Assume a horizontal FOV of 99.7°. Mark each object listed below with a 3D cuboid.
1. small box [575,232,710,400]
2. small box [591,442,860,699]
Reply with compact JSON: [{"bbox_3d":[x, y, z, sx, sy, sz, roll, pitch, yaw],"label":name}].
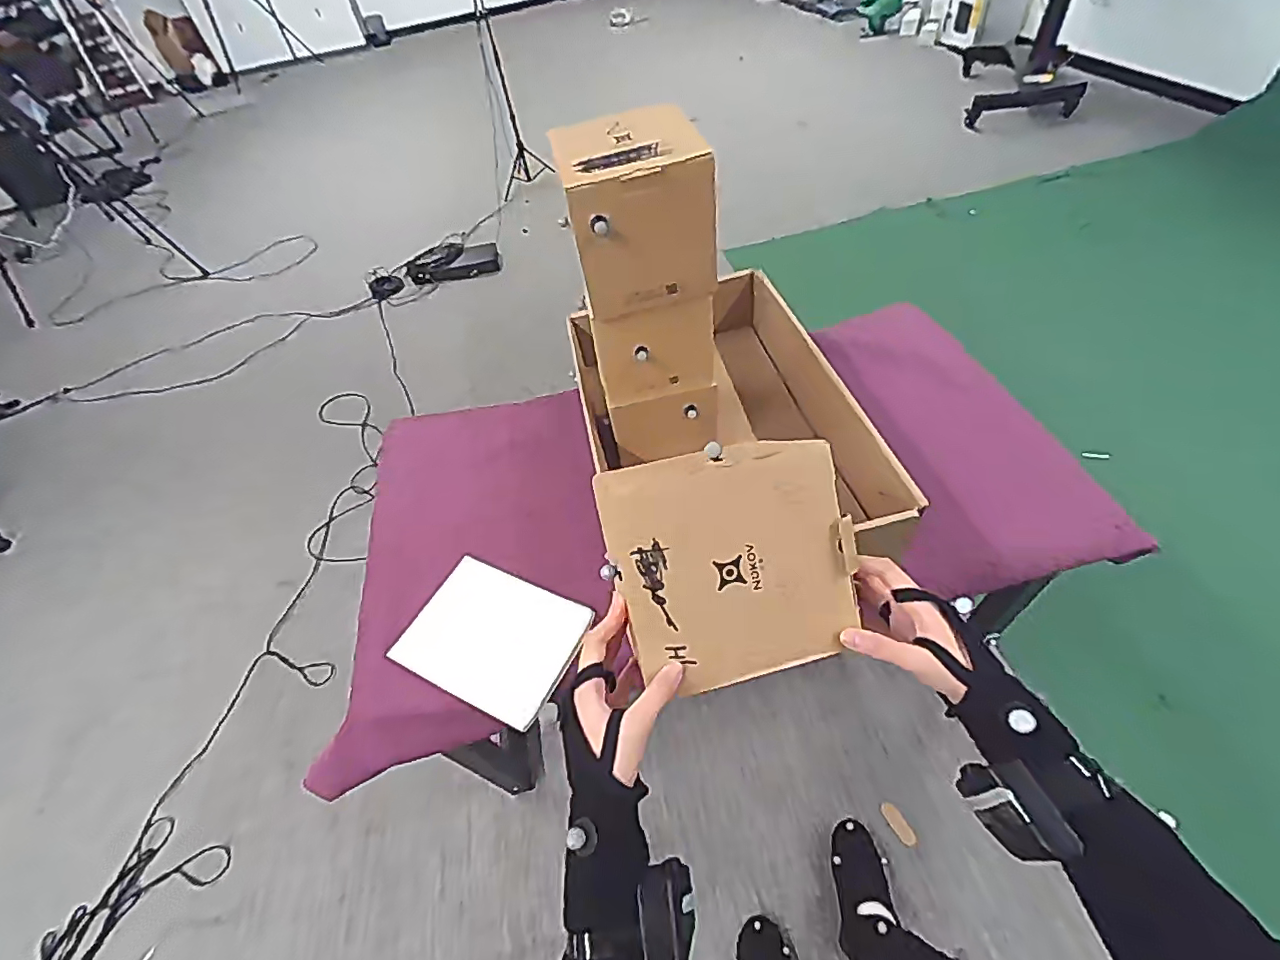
[{"bbox_3d":[0.007,-0.240,0.820,0.168,0.176,0.179,-13,51,-1],"label":"small box"},{"bbox_3d":[0.061,0.060,0.480,0.179,0.168,0.176,-12,5,-8],"label":"small box"}]
